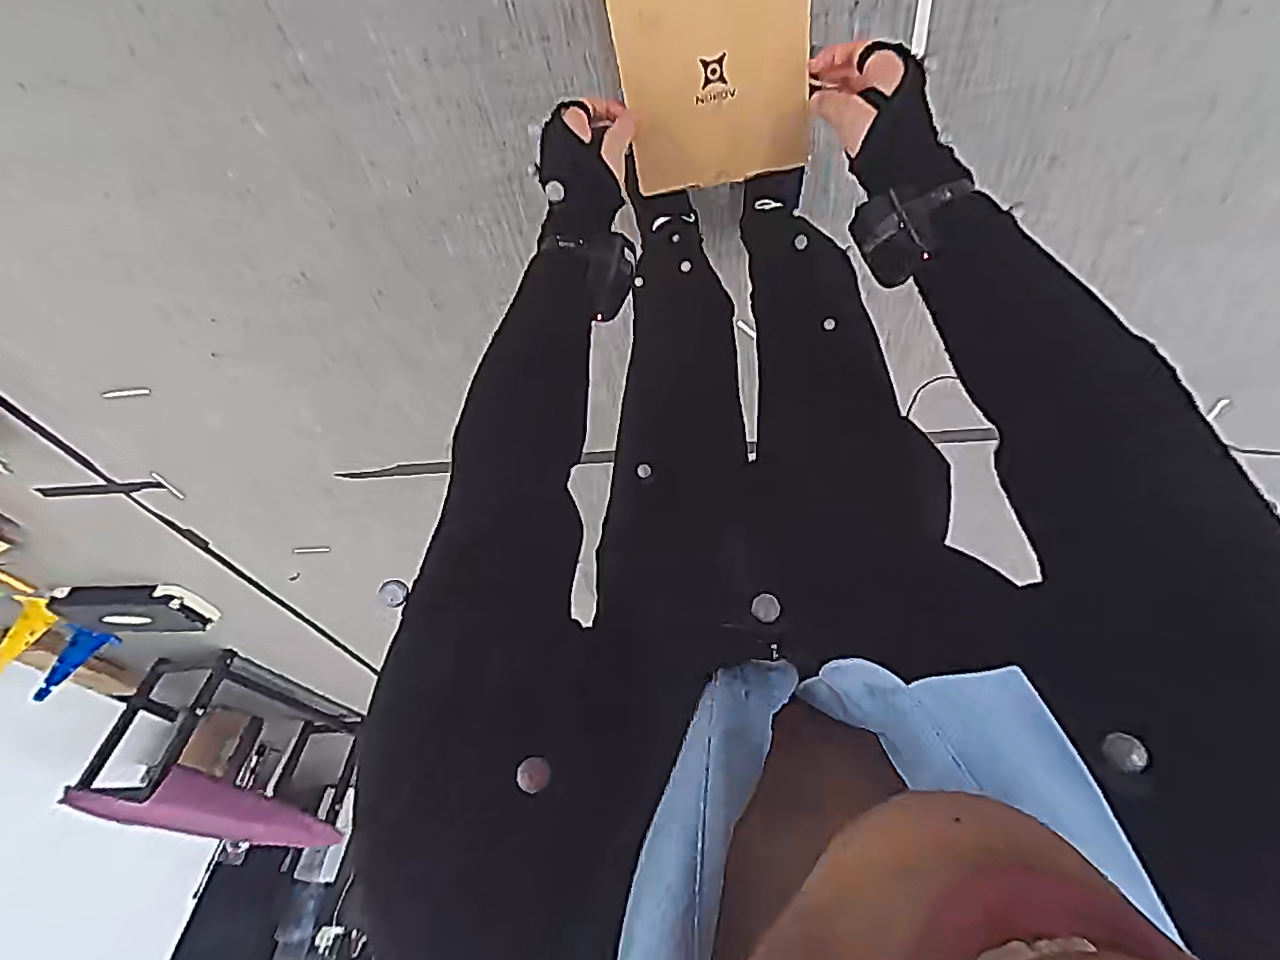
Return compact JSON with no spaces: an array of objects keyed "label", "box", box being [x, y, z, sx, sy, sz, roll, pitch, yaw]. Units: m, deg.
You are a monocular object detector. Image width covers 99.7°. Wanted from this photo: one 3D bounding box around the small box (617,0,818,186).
[{"label":"small box","box":[0.074,-0.422,0.528,0.168,0.176,0.179,-5,138,10]}]
